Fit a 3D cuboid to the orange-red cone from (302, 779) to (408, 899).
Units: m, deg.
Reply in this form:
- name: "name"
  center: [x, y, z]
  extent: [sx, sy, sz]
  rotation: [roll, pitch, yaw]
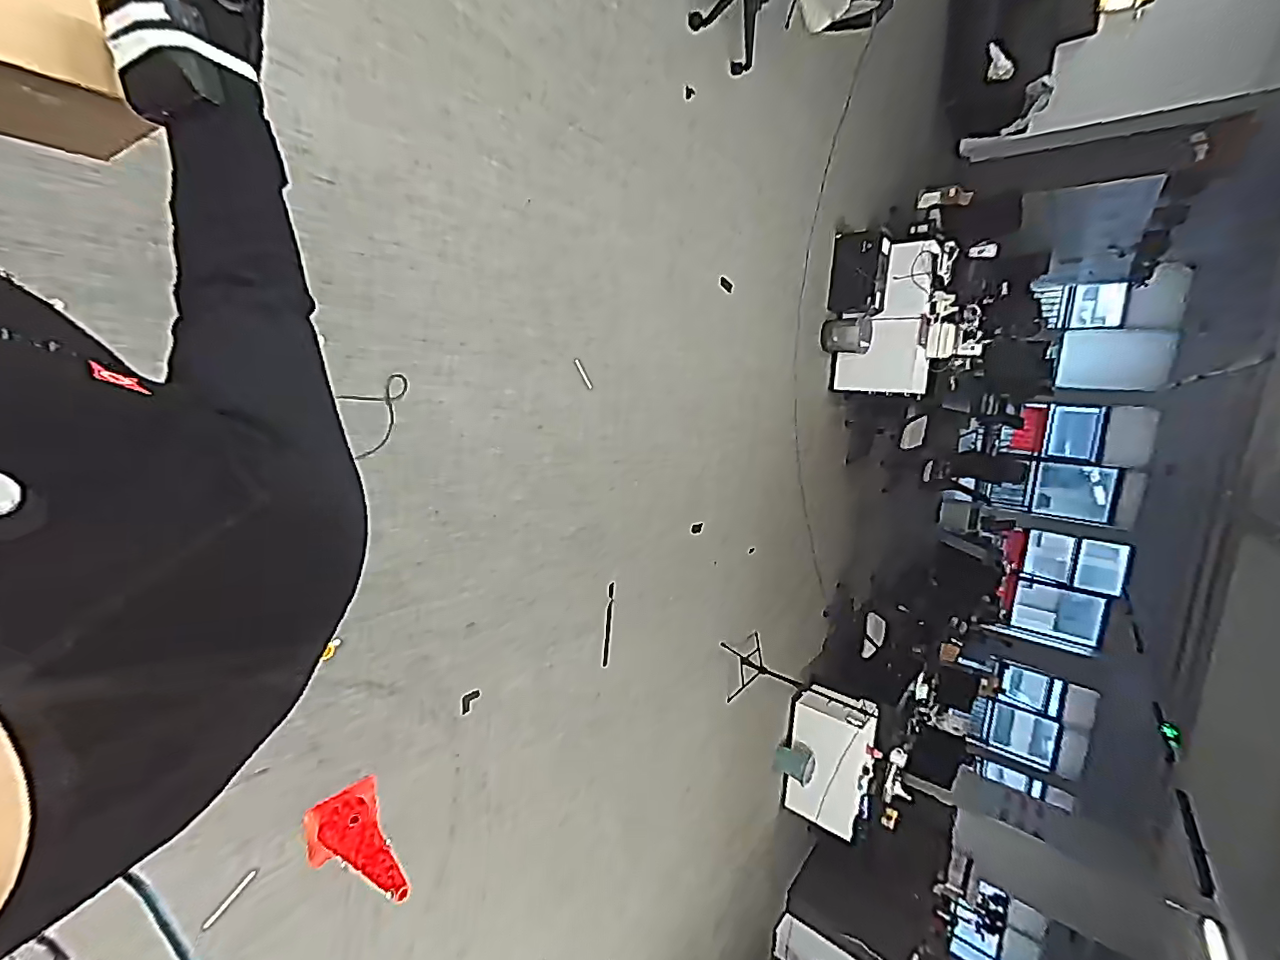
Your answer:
- name: "orange-red cone"
  center: [-0.751, 1.033, 1.492]
  extent: [0.198, 0.360, 0.199]
  rotation: [-12, 106, -51]

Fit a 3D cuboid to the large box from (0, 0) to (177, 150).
- name: "large box"
  center: [-0.575, -0.442, 0.310]
  extent: [0.408, 0.320, 0.320]
  rotation: [-10, 112, -51]
